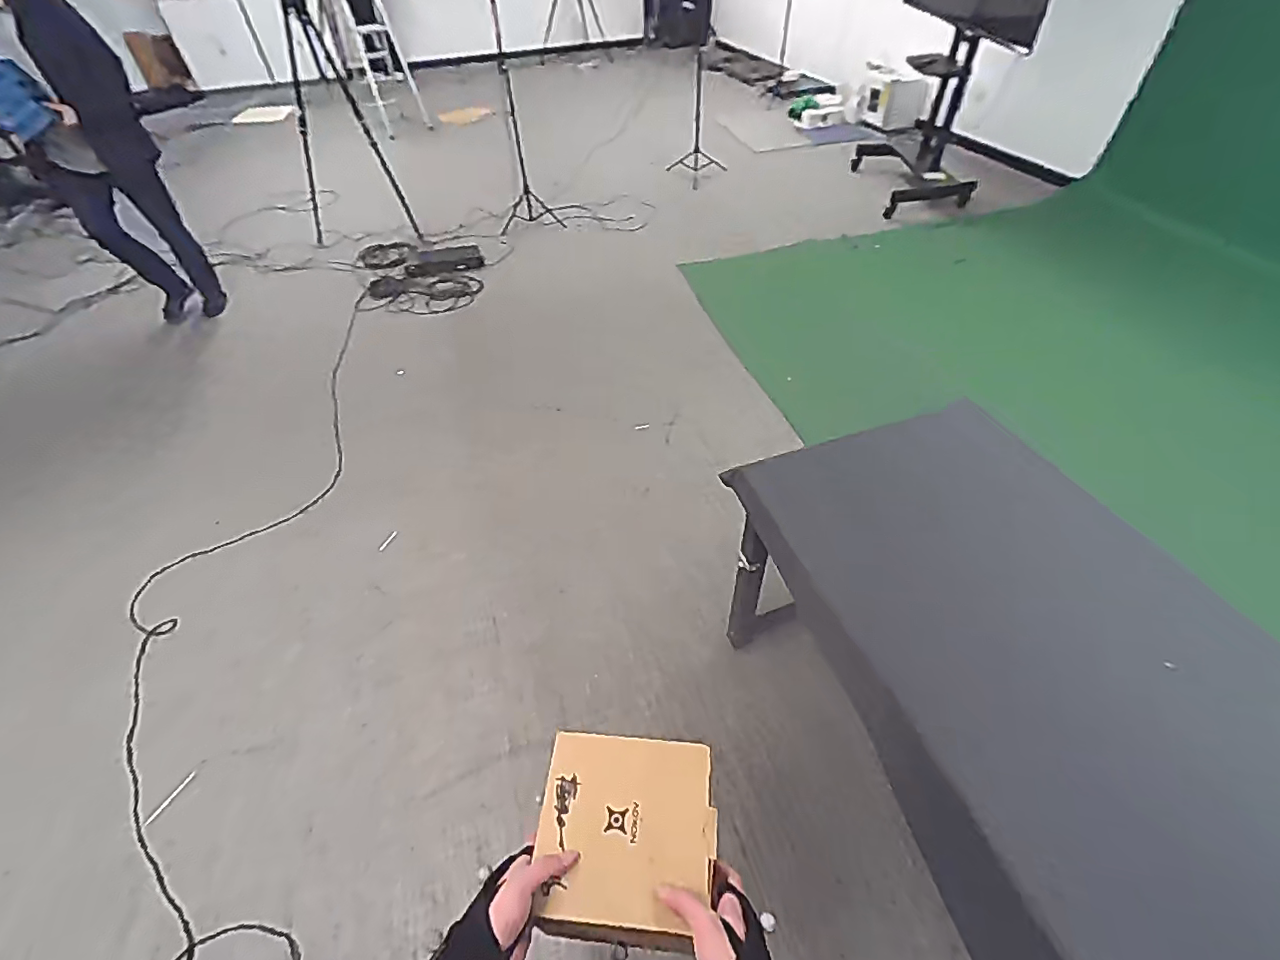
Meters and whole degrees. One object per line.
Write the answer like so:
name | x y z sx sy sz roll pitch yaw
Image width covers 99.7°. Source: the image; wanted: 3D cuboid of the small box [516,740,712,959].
small box | -0.017 0.407 0.591 0.179 0.176 0.168 3 44 5
